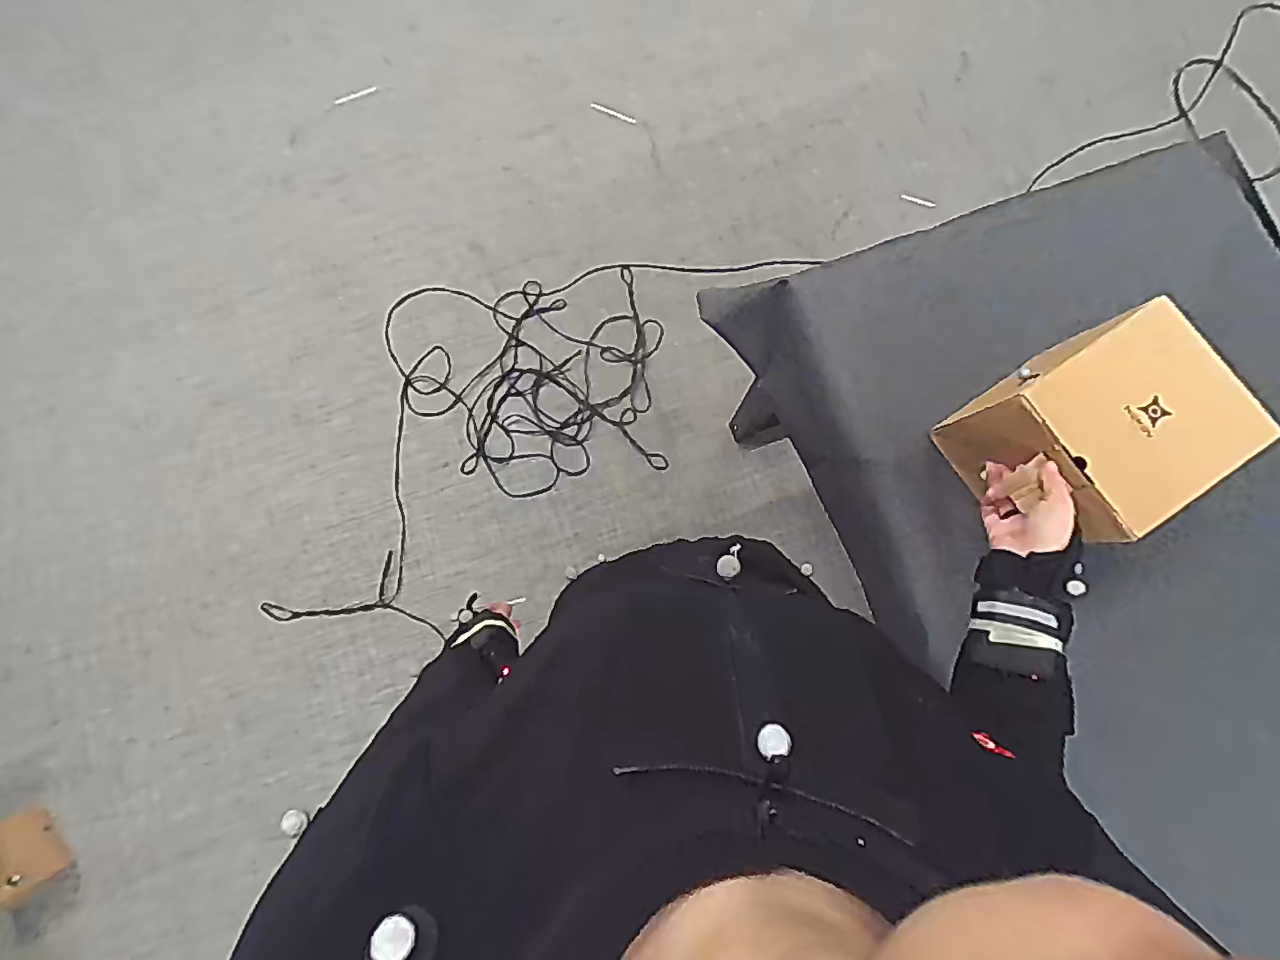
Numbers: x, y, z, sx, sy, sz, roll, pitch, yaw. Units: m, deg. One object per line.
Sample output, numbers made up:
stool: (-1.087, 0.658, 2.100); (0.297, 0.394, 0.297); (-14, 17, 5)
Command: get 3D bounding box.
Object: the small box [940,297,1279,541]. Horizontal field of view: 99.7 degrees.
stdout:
small box: (0.469, -0.051, 0.571); (0.179, 0.176, 0.168); (-34, 84, -3)
